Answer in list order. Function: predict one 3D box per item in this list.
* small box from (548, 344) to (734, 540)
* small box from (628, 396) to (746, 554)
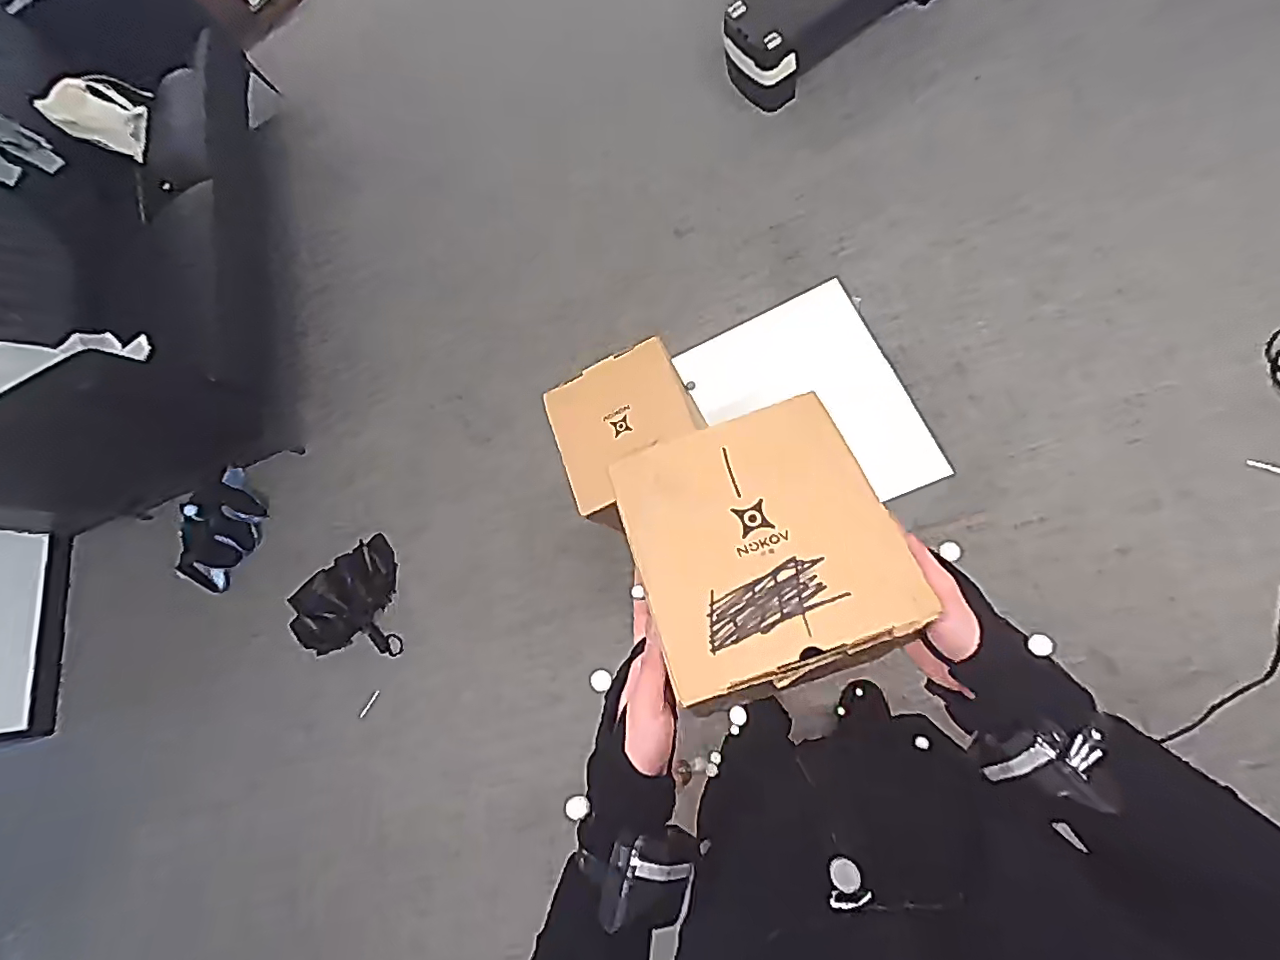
[{"bbox_3d":[0.007,-0.038,0.715,0.168,0.176,0.179,-26,69,12],"label":"small box"},{"bbox_3d":[0.055,0.000,0.865,0.168,0.176,0.179,-24,67,11],"label":"small box"}]
